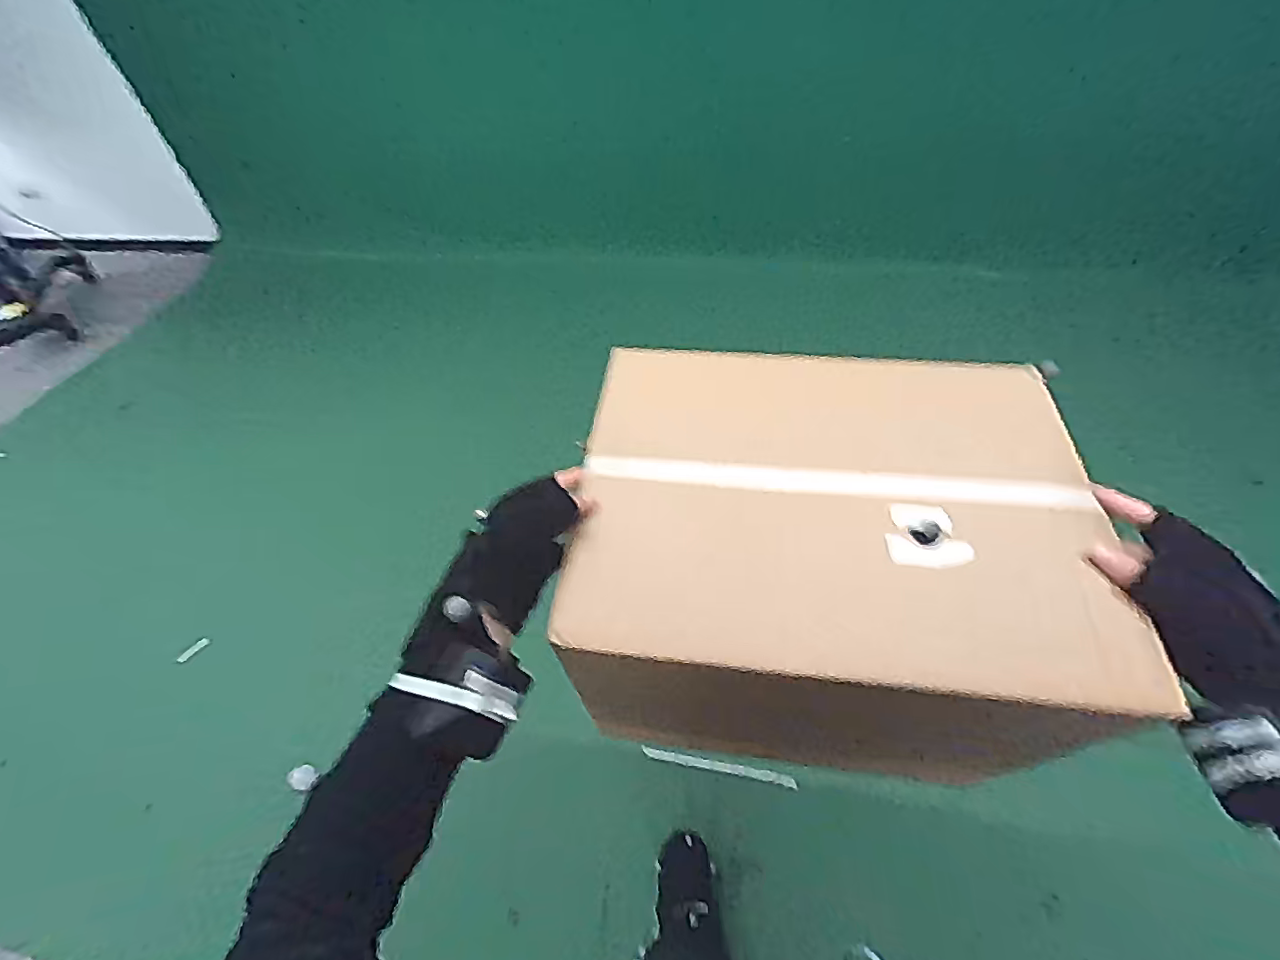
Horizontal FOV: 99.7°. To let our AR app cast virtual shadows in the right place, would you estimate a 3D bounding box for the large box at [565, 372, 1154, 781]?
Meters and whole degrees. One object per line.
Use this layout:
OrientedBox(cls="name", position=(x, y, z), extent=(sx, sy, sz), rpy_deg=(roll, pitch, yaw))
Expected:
OrientedBox(cls="large box", position=(0.164, 0.106, 0.578), extent=(0.408, 0.320, 0.320), rpy_deg=(3, 54, 7))
